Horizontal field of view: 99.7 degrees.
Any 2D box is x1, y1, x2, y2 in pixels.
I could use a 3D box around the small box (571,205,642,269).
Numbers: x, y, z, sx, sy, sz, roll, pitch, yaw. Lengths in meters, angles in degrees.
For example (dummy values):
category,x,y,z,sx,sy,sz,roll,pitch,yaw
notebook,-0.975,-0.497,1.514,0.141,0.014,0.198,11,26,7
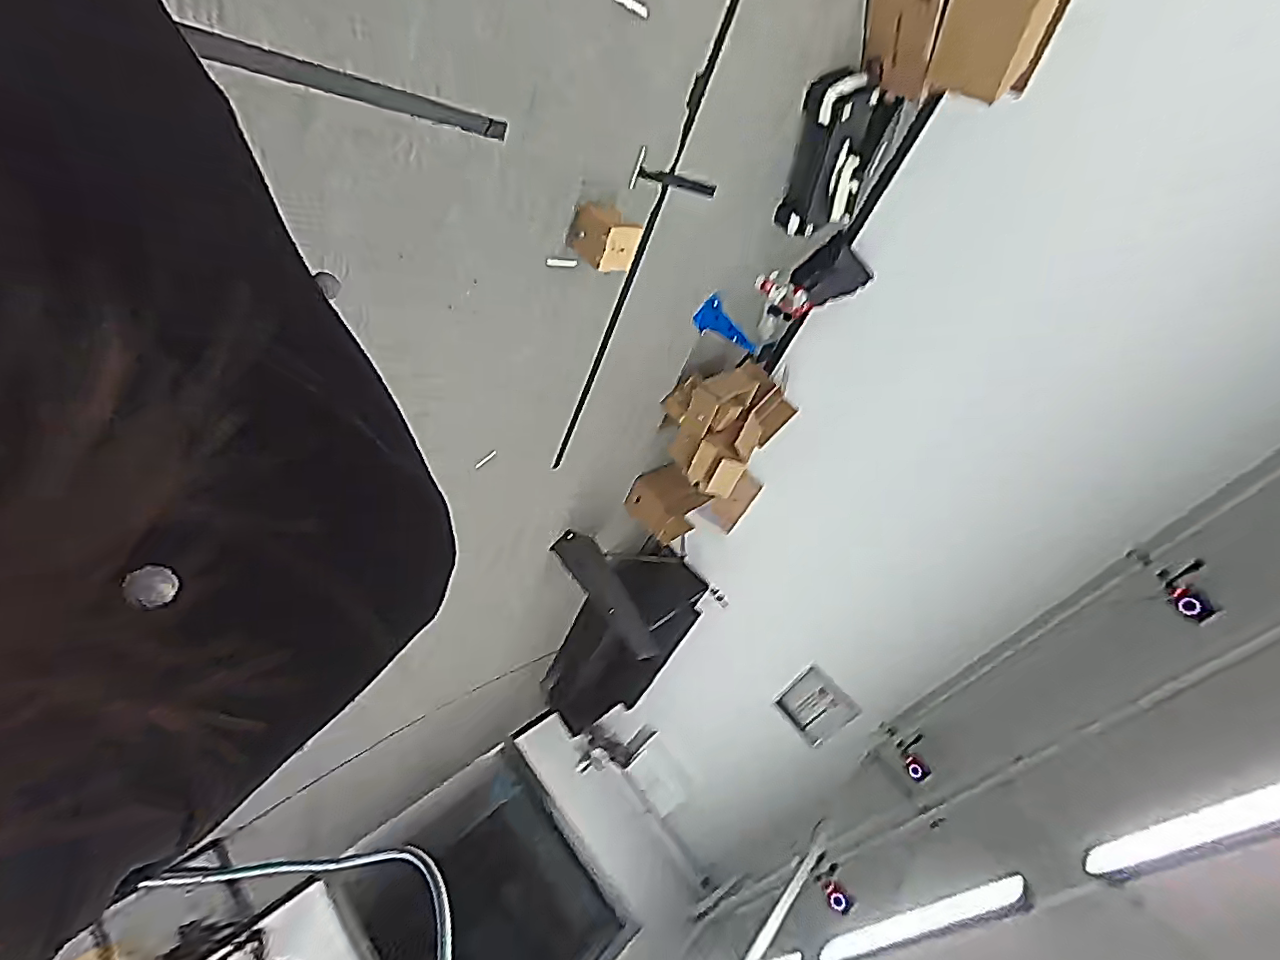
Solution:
category,x,y,z,sx,sy,sz,roll,pitch,yaw
small box,-0.128,-0.914,2.036,0.179,0.176,0.168,-22,148,-42
